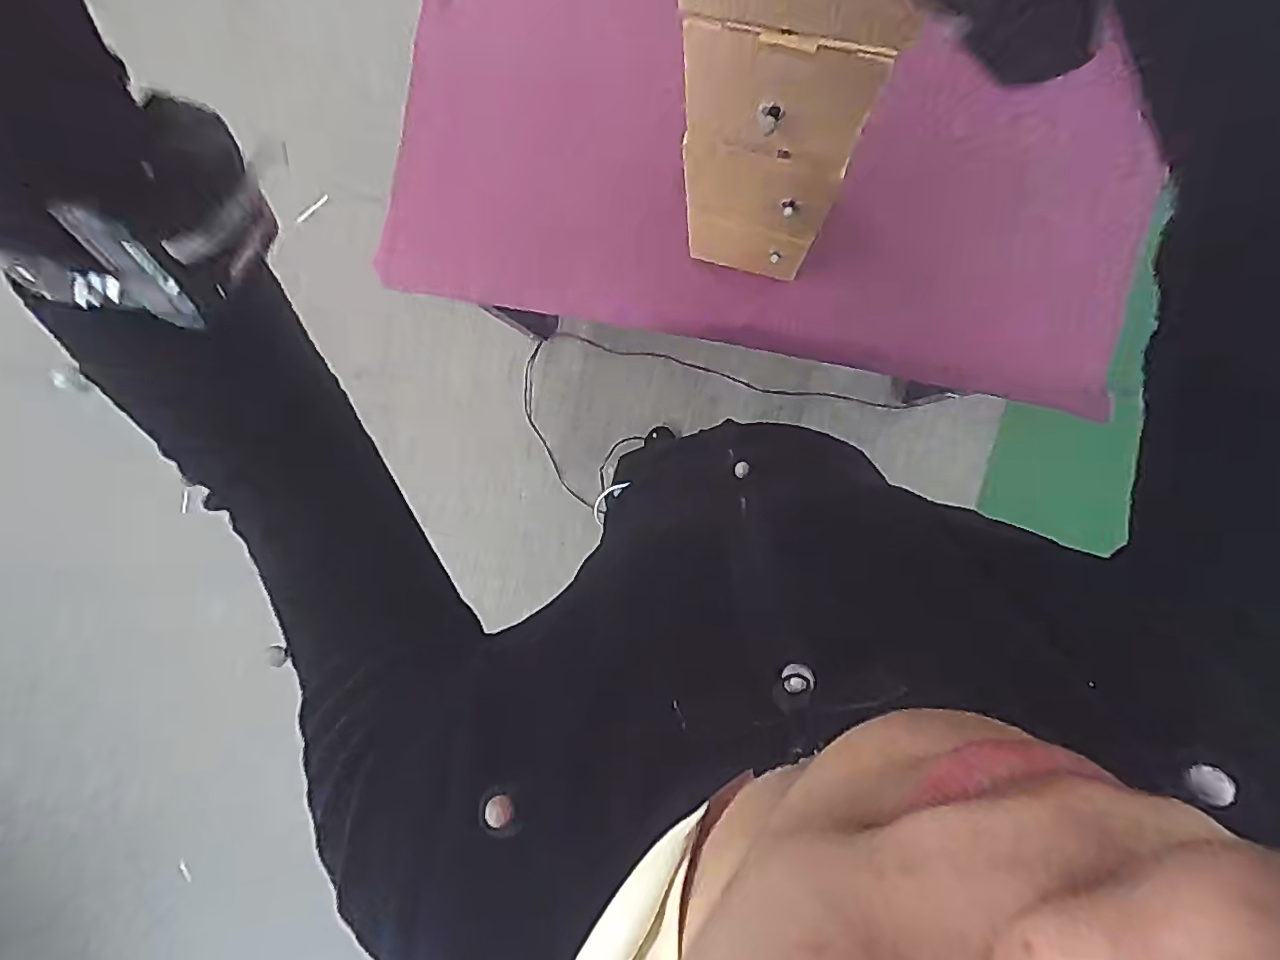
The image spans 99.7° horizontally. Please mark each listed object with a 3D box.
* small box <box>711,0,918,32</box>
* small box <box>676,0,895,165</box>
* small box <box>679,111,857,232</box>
[{"bbox_3d":[0.119,-0.413,0.314,0.179,0.176,0.168,14,94,5],"label":"small box"},{"bbox_3d":[0.138,-0.417,0.478,0.168,0.176,0.179,16,95,6],"label":"small box"},{"bbox_3d":[0.156,-0.418,0.640,0.179,0.176,0.168,17,94,7],"label":"small box"}]
